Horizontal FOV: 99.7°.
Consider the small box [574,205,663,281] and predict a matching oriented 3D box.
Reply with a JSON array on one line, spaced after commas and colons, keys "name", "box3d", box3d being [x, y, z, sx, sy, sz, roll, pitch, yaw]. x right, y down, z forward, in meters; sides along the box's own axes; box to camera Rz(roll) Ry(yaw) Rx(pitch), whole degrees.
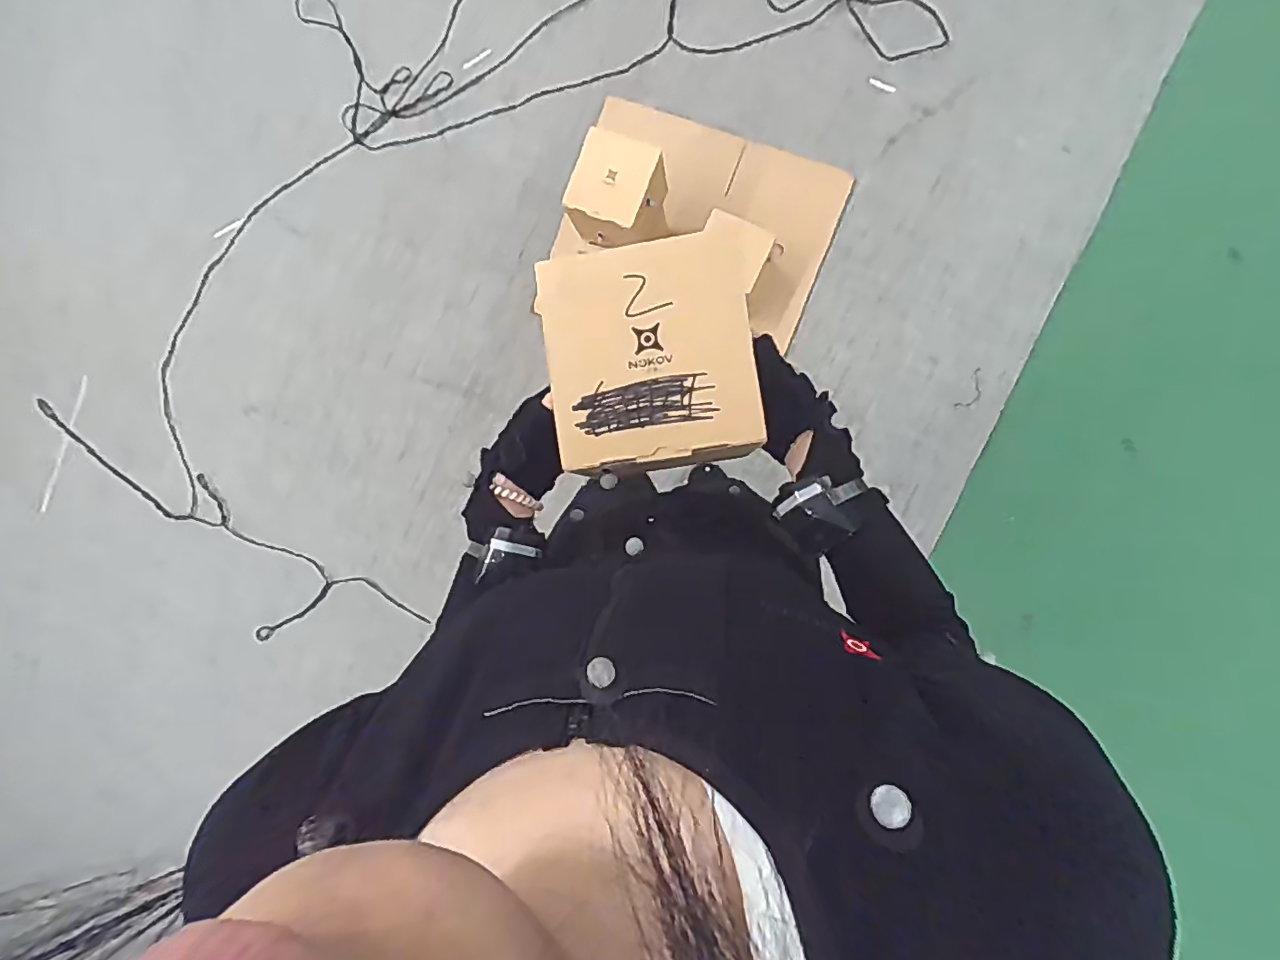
[{"name": "small box", "box3d": [-0.047, -0.630, 1.373, 0.168, 0.176, 0.179, 19, 95, 6]}]

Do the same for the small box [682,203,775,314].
[{"name": "small box", "box3d": [0.216, -0.542, 1.344, 0.168, 0.176, 0.179, 26, 97, 7]}]

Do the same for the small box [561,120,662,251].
[{"name": "small box", "box3d": [-0.055, -0.647, 1.208, 0.168, 0.176, 0.179, 22, 95, 6]}]
